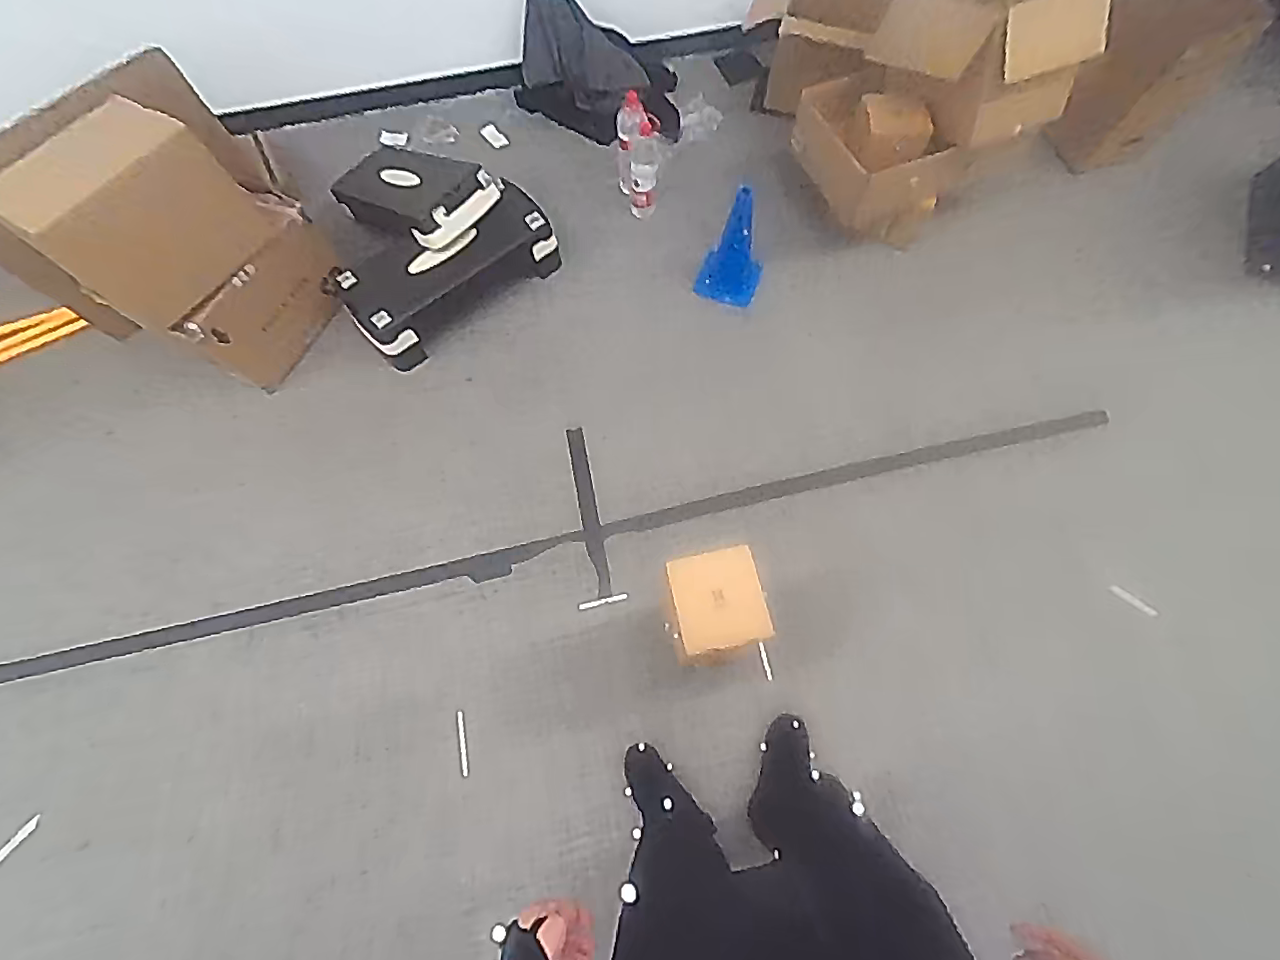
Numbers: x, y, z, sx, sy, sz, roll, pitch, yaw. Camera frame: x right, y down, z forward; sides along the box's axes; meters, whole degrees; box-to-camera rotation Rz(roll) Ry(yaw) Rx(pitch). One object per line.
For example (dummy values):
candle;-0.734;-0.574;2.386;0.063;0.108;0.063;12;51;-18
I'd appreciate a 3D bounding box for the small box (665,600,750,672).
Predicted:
small box;0.162;0.379;1.372;0.168;0.176;0.179;-16;71;-4

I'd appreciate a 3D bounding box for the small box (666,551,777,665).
small box;0.149;0.258;1.068;0.168;0.176;0.179;-12;70;-4
